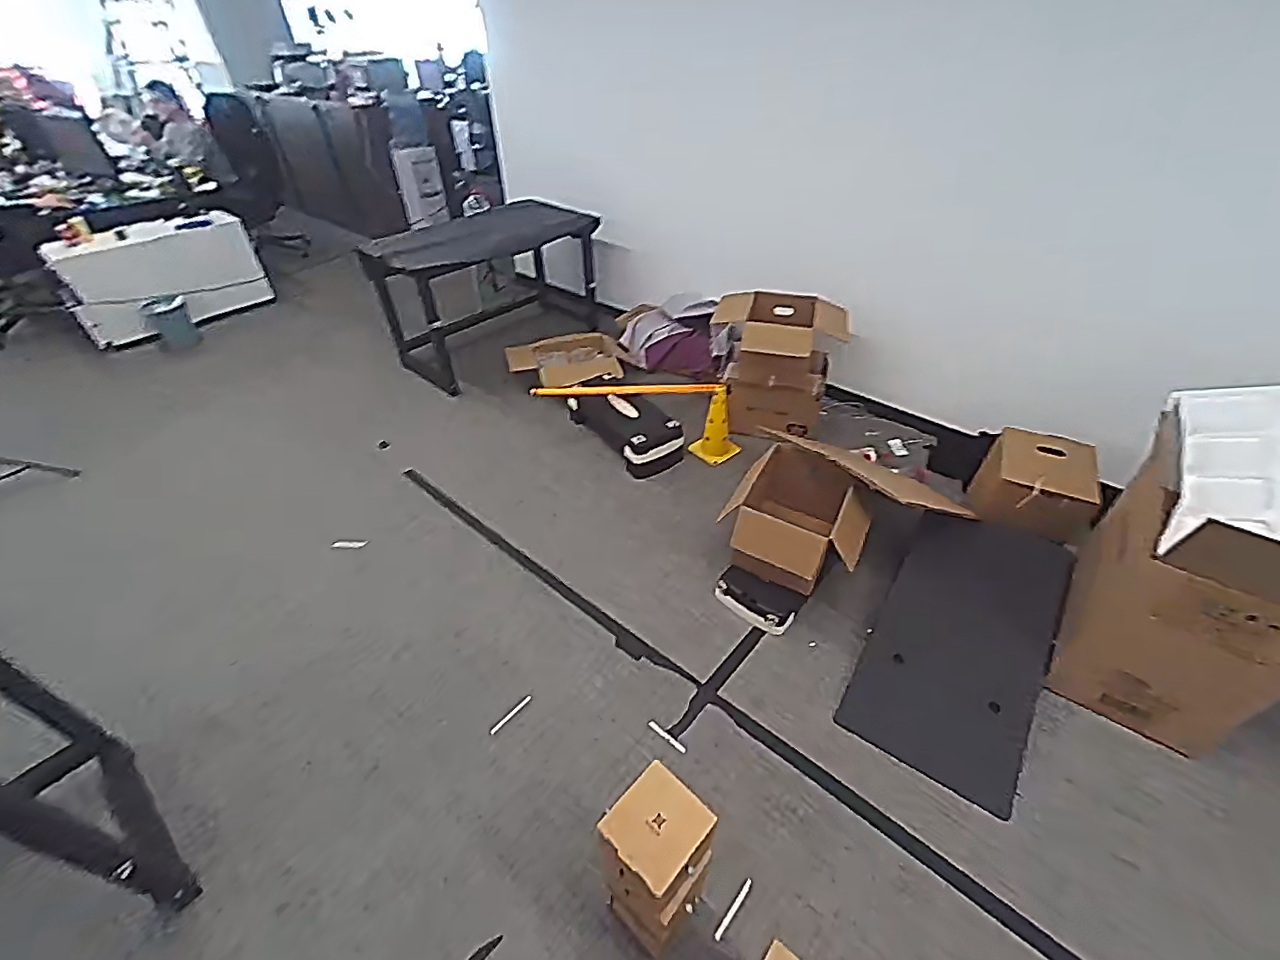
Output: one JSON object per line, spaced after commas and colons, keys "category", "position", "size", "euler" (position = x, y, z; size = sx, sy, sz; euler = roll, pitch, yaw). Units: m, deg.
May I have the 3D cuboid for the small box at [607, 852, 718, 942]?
{"category": "small box", "position": [0.045, 0.851, 1.176], "size": [0.179, 0.176, 0.168], "euler": [30, 49, 30]}

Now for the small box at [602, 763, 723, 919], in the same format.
{"category": "small box", "position": [0.041, 0.720, 1.080], "size": [0.168, 0.176, 0.179], "euler": [32, 51, 31]}

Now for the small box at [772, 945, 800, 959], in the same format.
{"category": "small box", "position": [0.275, 1.015, 0.985], "size": [0.168, 0.176, 0.179], "euler": [28, 48, 31]}
